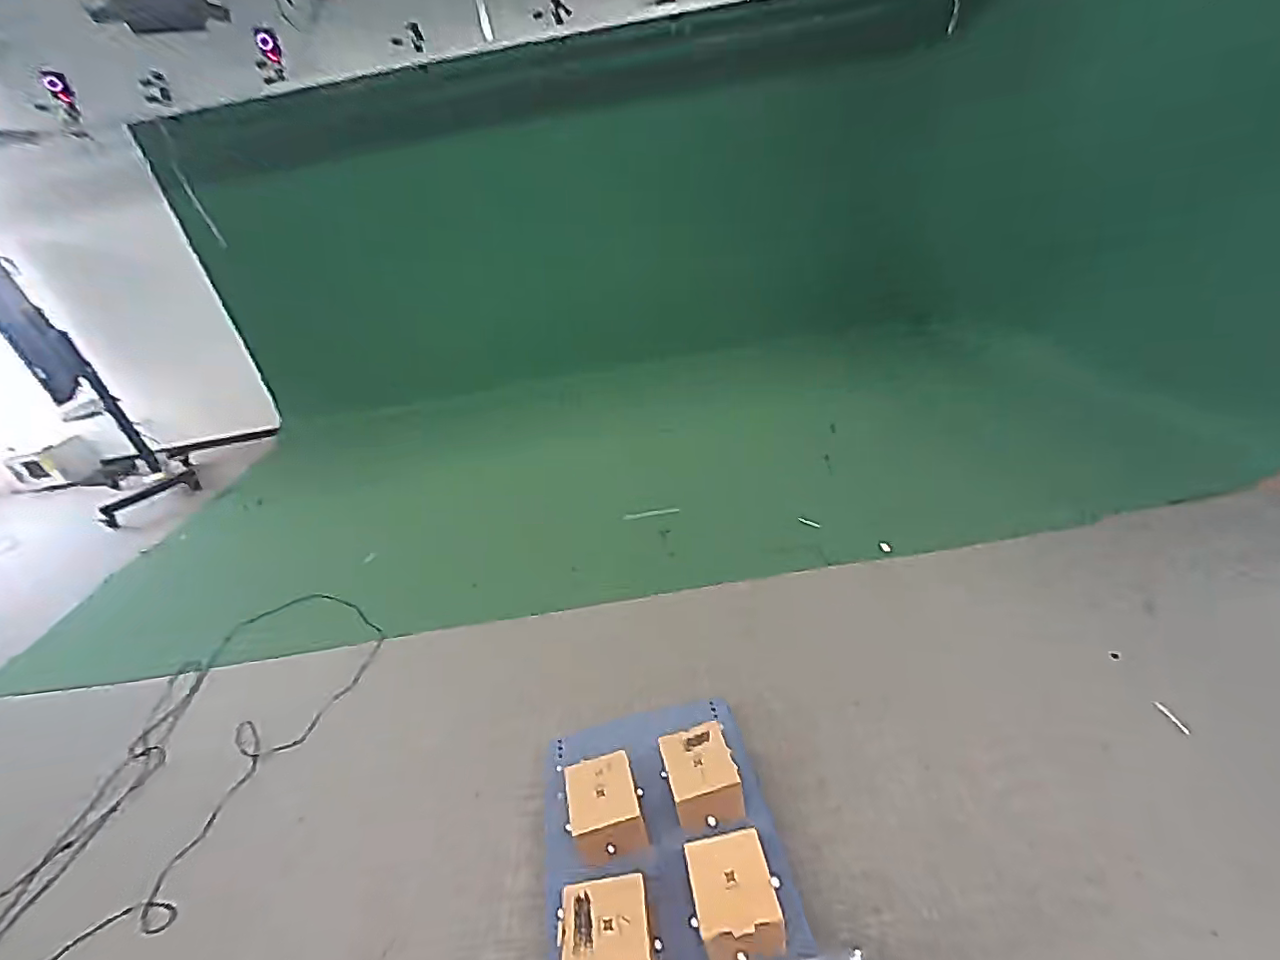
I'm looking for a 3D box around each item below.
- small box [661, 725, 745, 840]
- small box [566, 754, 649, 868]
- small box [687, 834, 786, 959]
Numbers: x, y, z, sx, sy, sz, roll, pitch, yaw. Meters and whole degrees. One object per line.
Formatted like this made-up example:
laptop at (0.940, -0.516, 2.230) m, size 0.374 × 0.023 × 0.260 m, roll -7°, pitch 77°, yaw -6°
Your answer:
small box at (0.161, 0.777, 1.392) m, size 0.168 × 0.176 × 0.179 m, roll -15°, pitch 31°, yaw -6°
small box at (-0.081, 0.839, 1.363) m, size 0.168 × 0.176 × 0.179 m, roll -13°, pitch 30°, yaw -7°
small box at (0.203, 0.907, 1.159) m, size 0.168 × 0.176 × 0.179 m, roll -12°, pitch 30°, yaw -3°
